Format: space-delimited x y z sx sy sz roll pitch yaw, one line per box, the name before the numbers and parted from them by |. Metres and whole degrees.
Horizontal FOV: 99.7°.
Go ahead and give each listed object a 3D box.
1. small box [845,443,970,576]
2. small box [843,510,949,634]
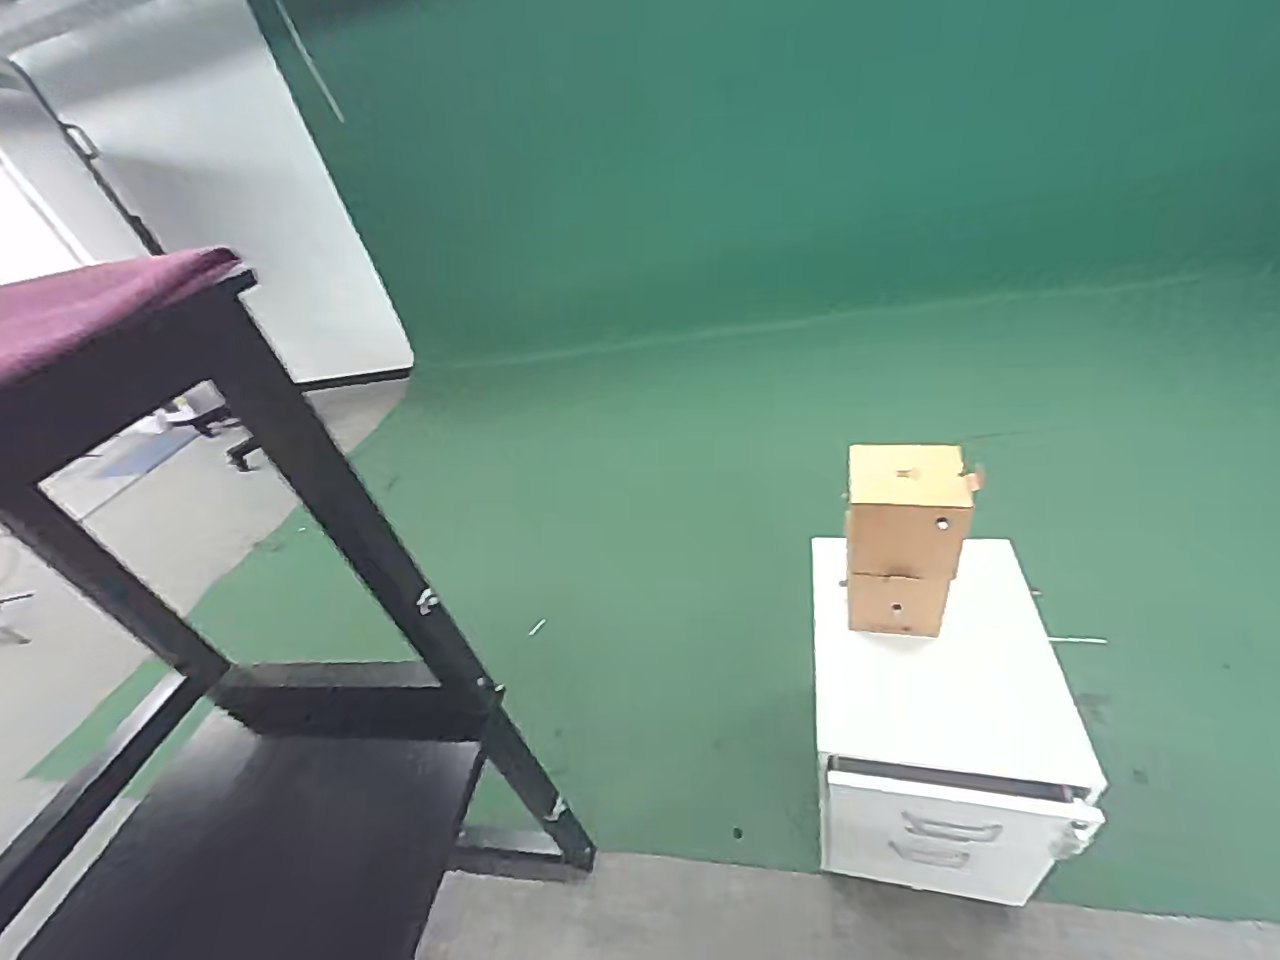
small box | 0.454 0.051 0.946 0.179 0.176 0.168 2 39 19
small box | 0.484 0.176 1.046 0.168 0.176 0.179 0 39 18
